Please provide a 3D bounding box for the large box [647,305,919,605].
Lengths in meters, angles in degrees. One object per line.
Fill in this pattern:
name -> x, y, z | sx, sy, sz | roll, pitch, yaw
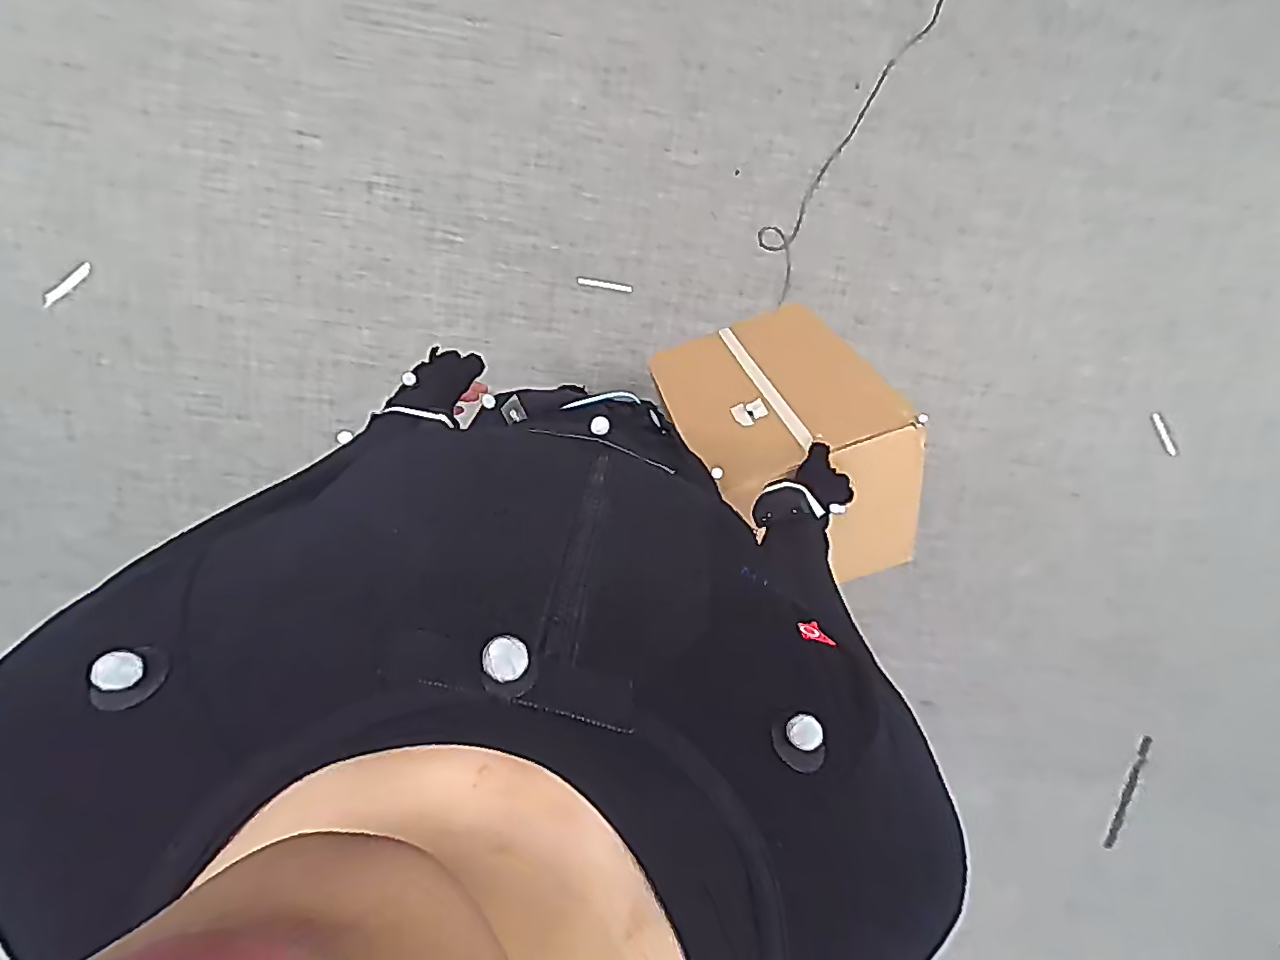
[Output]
large box -> 0.237, -0.054, 0.989 | 0.320, 0.408, 0.320 | -21, 133, 3
